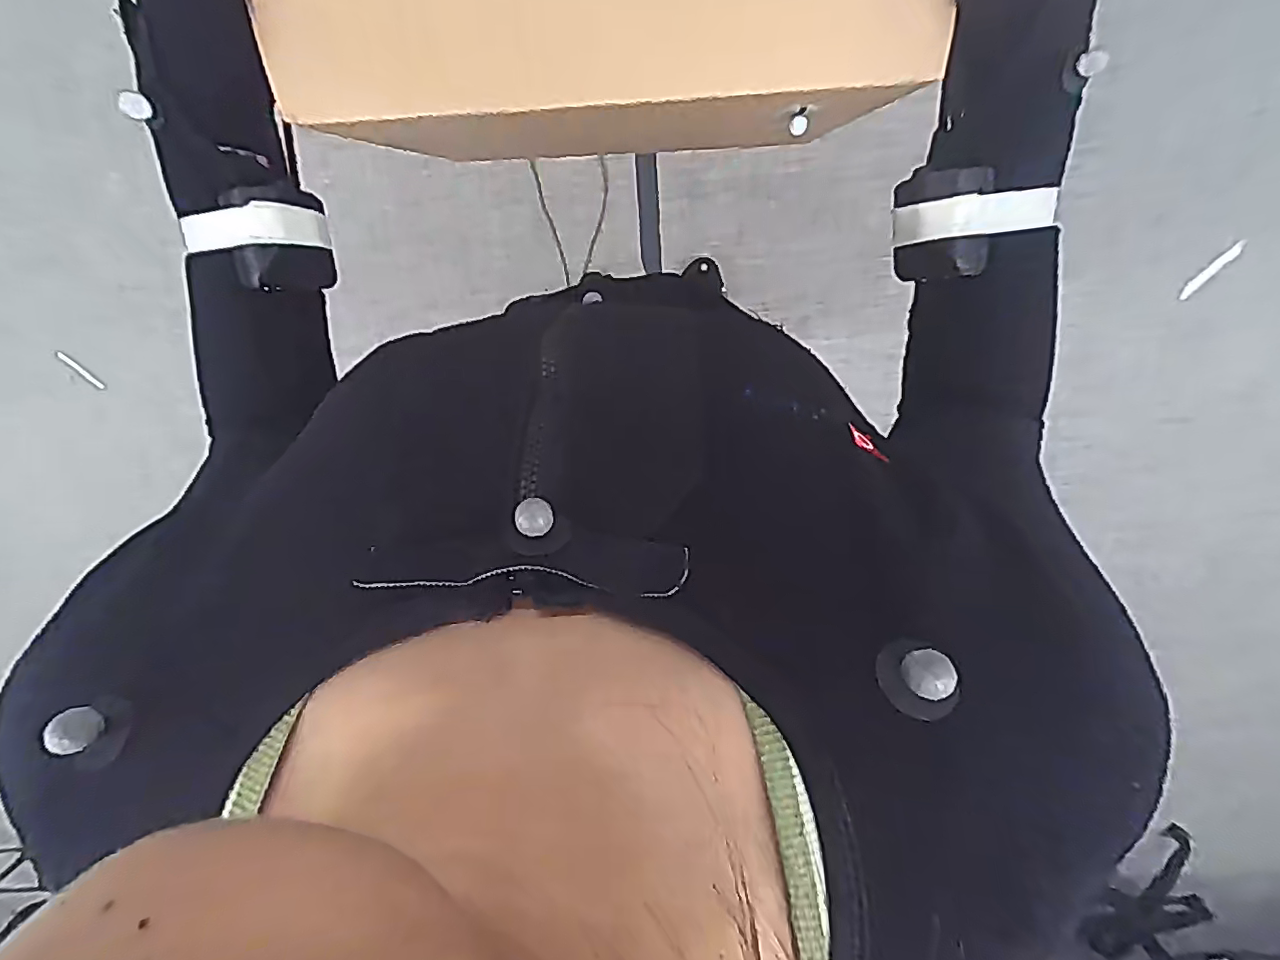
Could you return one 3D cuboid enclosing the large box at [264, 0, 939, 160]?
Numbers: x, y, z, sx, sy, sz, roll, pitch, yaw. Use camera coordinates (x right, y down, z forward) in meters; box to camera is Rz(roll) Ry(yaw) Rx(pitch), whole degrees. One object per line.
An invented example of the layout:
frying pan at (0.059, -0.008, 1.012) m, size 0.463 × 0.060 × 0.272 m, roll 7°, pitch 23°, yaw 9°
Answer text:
large box at (-0.025, -0.437, 0.405) m, size 0.408 × 0.320 × 0.320 m, roll -2°, pitch 116°, yaw 2°
